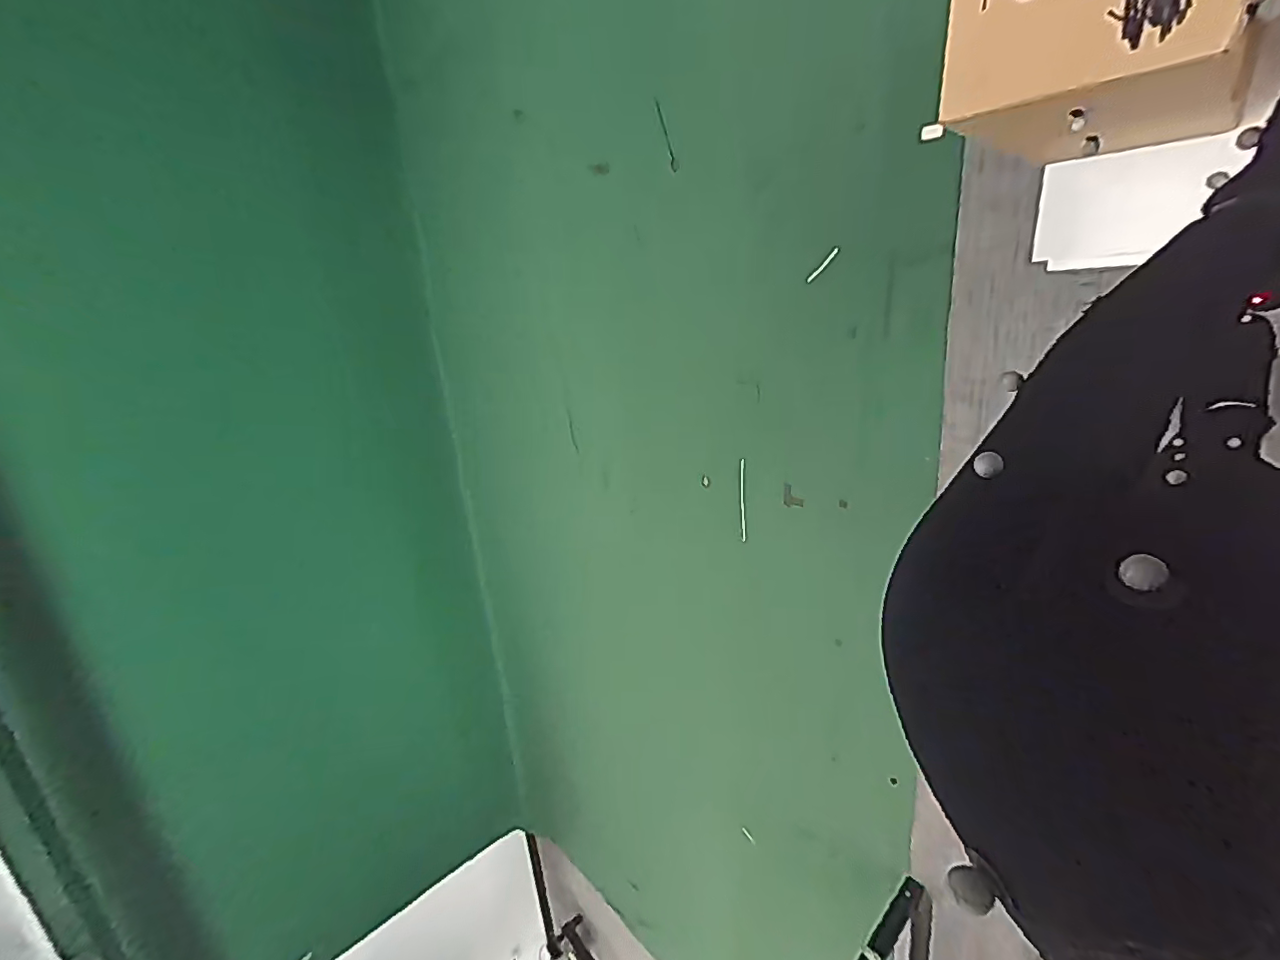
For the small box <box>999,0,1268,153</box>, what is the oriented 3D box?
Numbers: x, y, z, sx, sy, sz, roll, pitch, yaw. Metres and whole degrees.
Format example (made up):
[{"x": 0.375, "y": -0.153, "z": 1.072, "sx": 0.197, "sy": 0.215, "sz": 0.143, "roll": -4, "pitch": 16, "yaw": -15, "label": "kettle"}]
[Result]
[{"x": 0.492, "y": -0.444, "z": 0.538, "sx": 0.179, "sy": 0.176, "sz": 0.168, "roll": 15, "pitch": 116, "yaw": 43, "label": "small box"}]
